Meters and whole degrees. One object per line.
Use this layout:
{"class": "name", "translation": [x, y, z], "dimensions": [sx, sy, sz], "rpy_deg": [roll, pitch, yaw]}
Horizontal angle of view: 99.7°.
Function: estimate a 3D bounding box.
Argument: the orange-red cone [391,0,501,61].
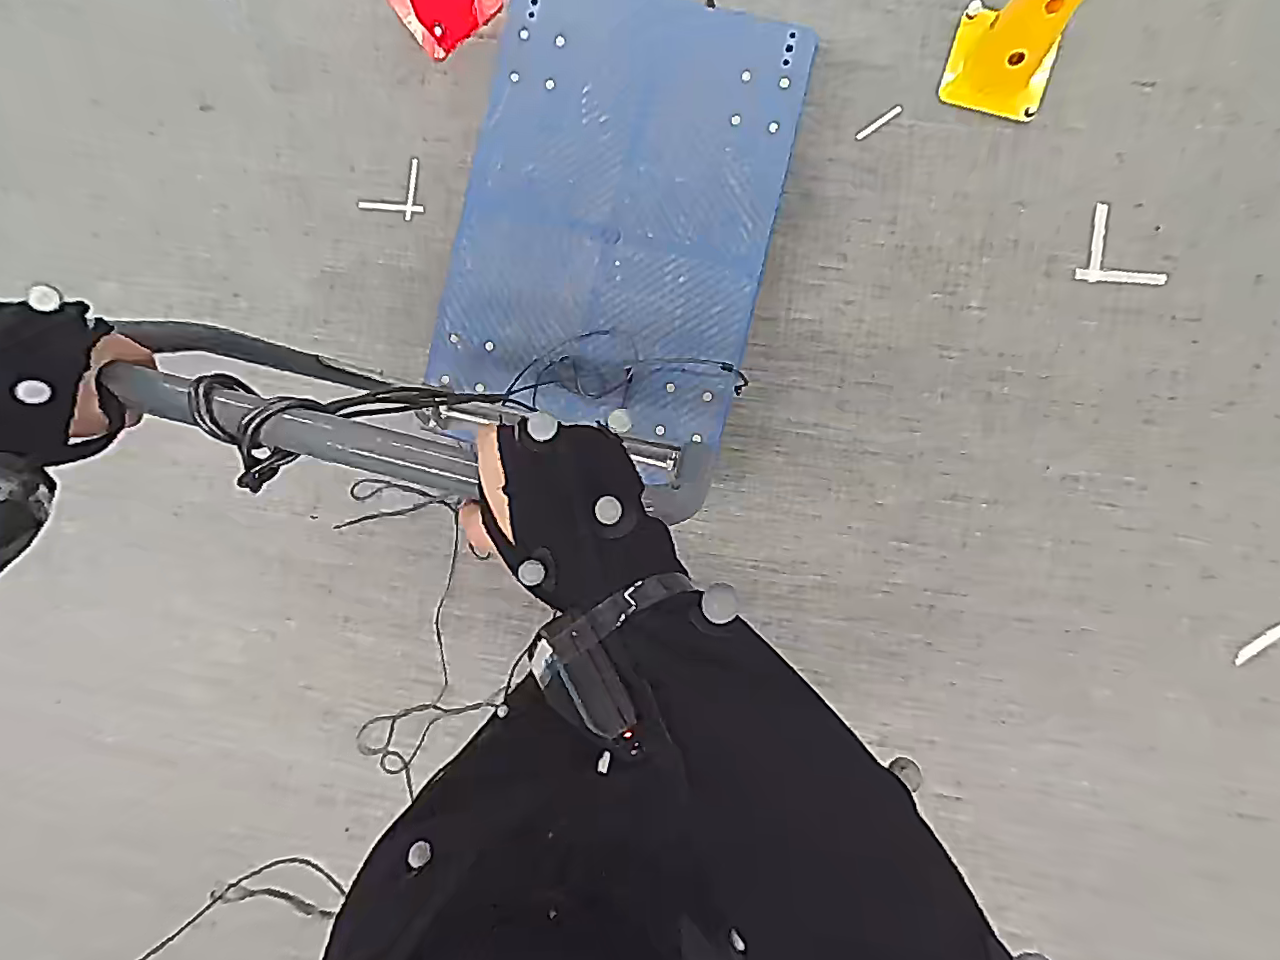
{"class": "orange-red cone", "translation": [-0.438, -1.052, 1.022], "dimensions": [0.199, 0.360, 0.198], "rpy_deg": [-36, 89, 3]}
